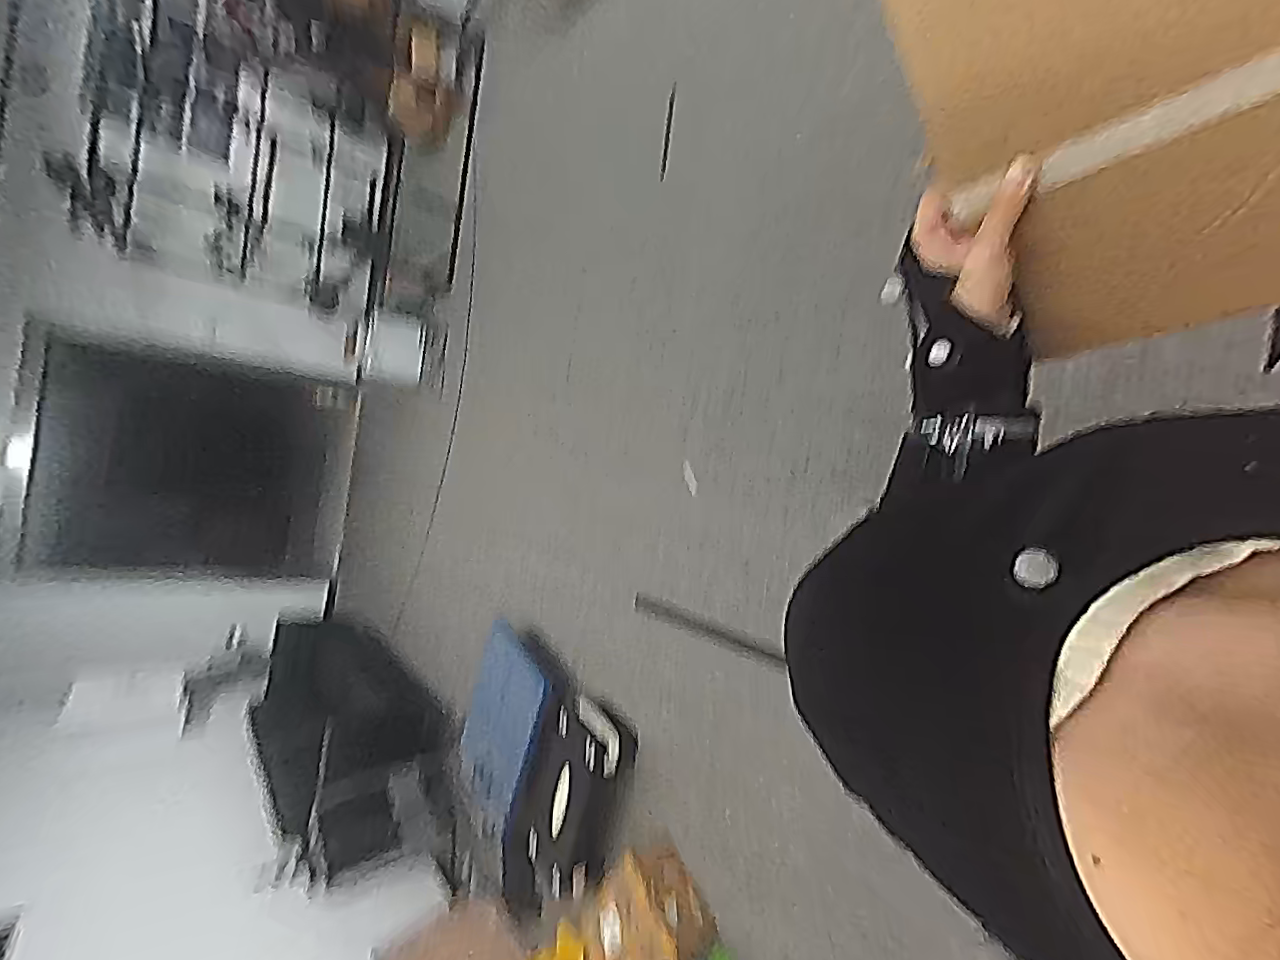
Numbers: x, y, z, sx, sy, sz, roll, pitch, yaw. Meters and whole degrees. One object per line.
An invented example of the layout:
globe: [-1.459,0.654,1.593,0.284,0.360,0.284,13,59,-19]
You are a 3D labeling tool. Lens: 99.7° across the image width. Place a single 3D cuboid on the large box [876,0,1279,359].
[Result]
large box: [0.392,-0.336,0.305,0.408,0.320,0.320,-13,43,41]
